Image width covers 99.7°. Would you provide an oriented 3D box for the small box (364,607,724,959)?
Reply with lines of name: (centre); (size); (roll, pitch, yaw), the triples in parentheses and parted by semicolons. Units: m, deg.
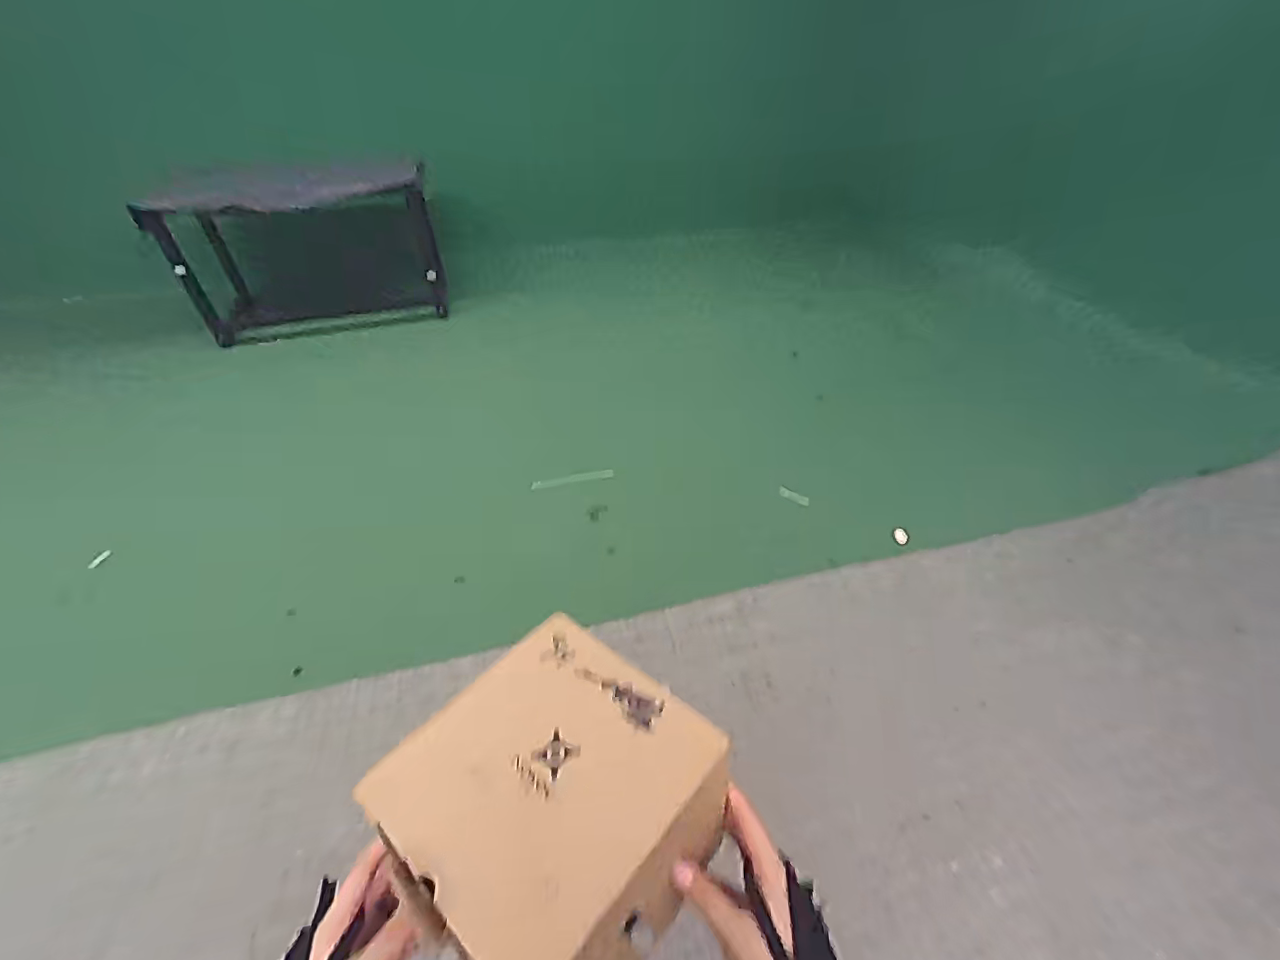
small box: (-0.053, 0.236, 0.392); (0.168, 0.176, 0.179); (26, 48, 33)
